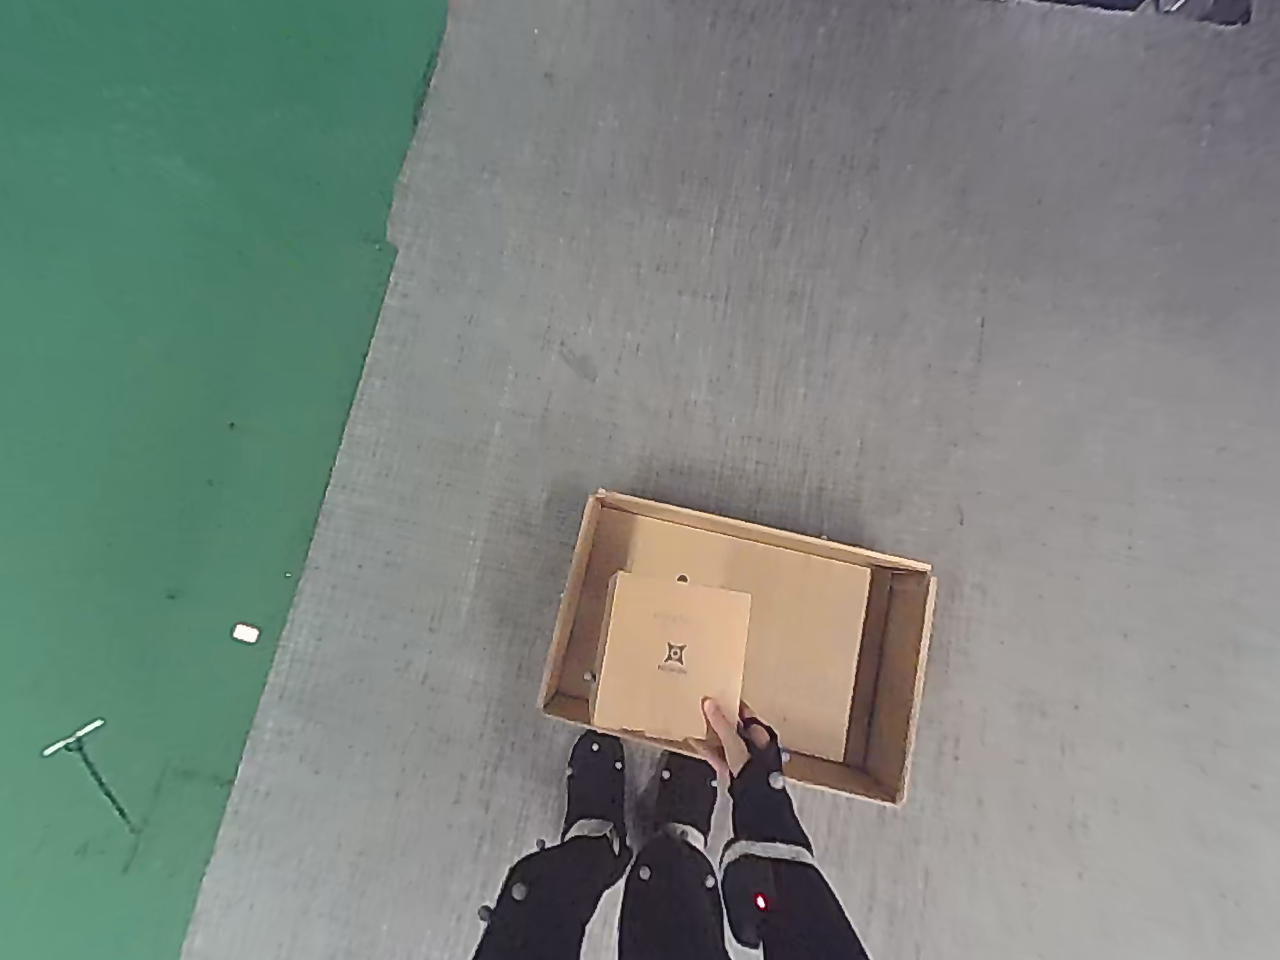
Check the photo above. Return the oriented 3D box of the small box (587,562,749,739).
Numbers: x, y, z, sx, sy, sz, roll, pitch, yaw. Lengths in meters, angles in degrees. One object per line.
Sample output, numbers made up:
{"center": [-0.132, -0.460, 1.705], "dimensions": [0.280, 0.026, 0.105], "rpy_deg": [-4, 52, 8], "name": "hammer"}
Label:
{"center": [0.030, 0.212, 0.705], "dimensions": [0.168, 0.176, 0.179], "rpy_deg": [11, 77, -3], "name": "small box"}
